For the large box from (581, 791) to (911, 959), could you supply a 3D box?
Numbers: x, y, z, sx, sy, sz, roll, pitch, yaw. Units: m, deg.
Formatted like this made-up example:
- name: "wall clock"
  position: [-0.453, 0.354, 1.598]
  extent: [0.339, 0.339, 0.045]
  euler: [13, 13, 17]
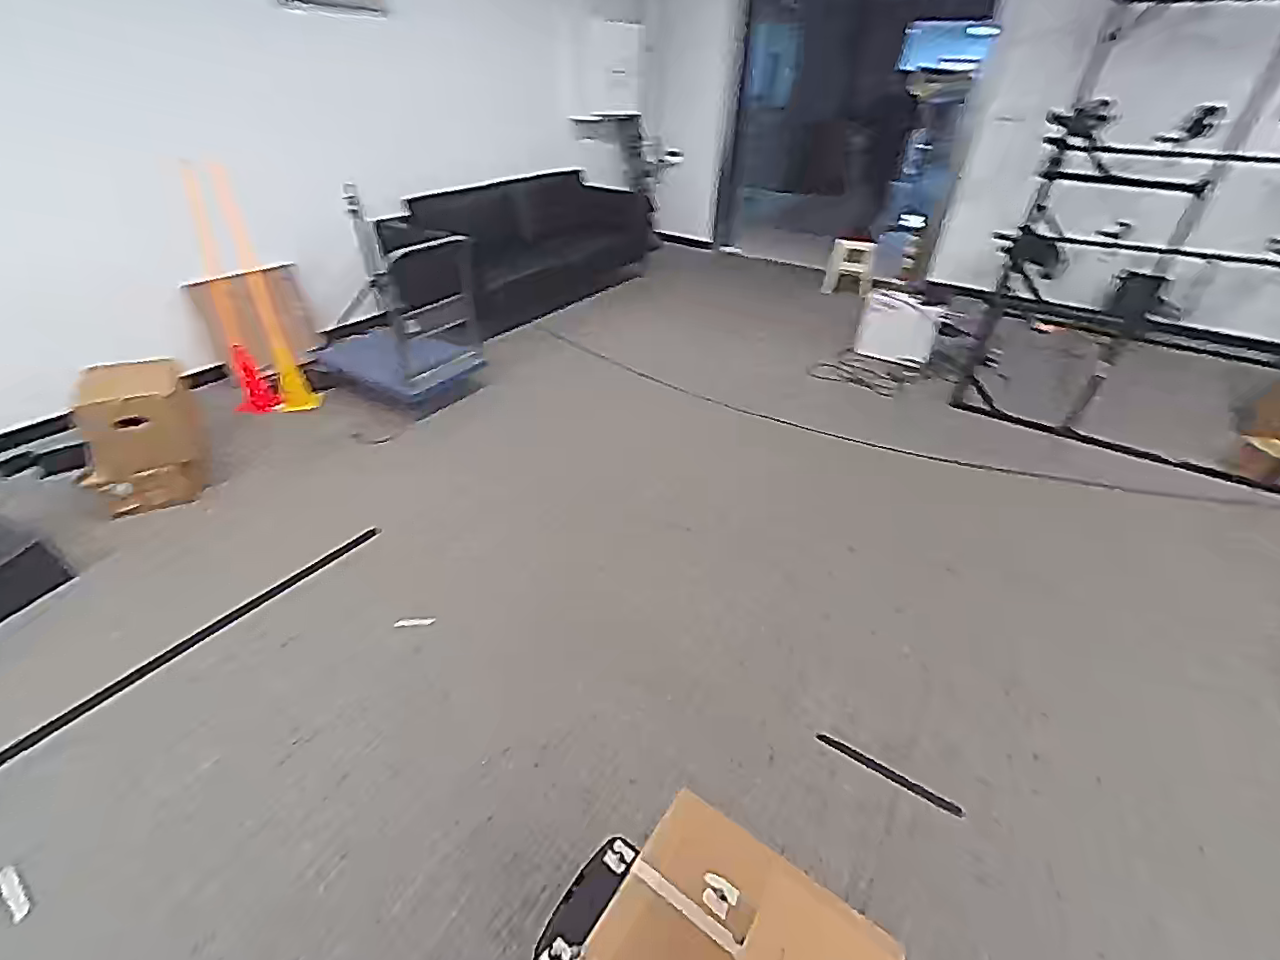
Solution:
- name: "large box"
  position: [0.158, 0.823, 0.882]
  extent: [0.408, 0.320, 0.320]
  euler: [23, 41, 28]

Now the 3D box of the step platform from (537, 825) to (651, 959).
- name: "step platform"
  position: [0.116, 1.016, 1.019]
  extent: [0.684, 0.204, 0.286]
  euler: [27, 44, 32]

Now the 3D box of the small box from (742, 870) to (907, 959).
- name: "small box"
  position: [0.219, 0.660, 0.691]
  extent: [0.179, 0.176, 0.168]
  euler: [24, 43, 29]
